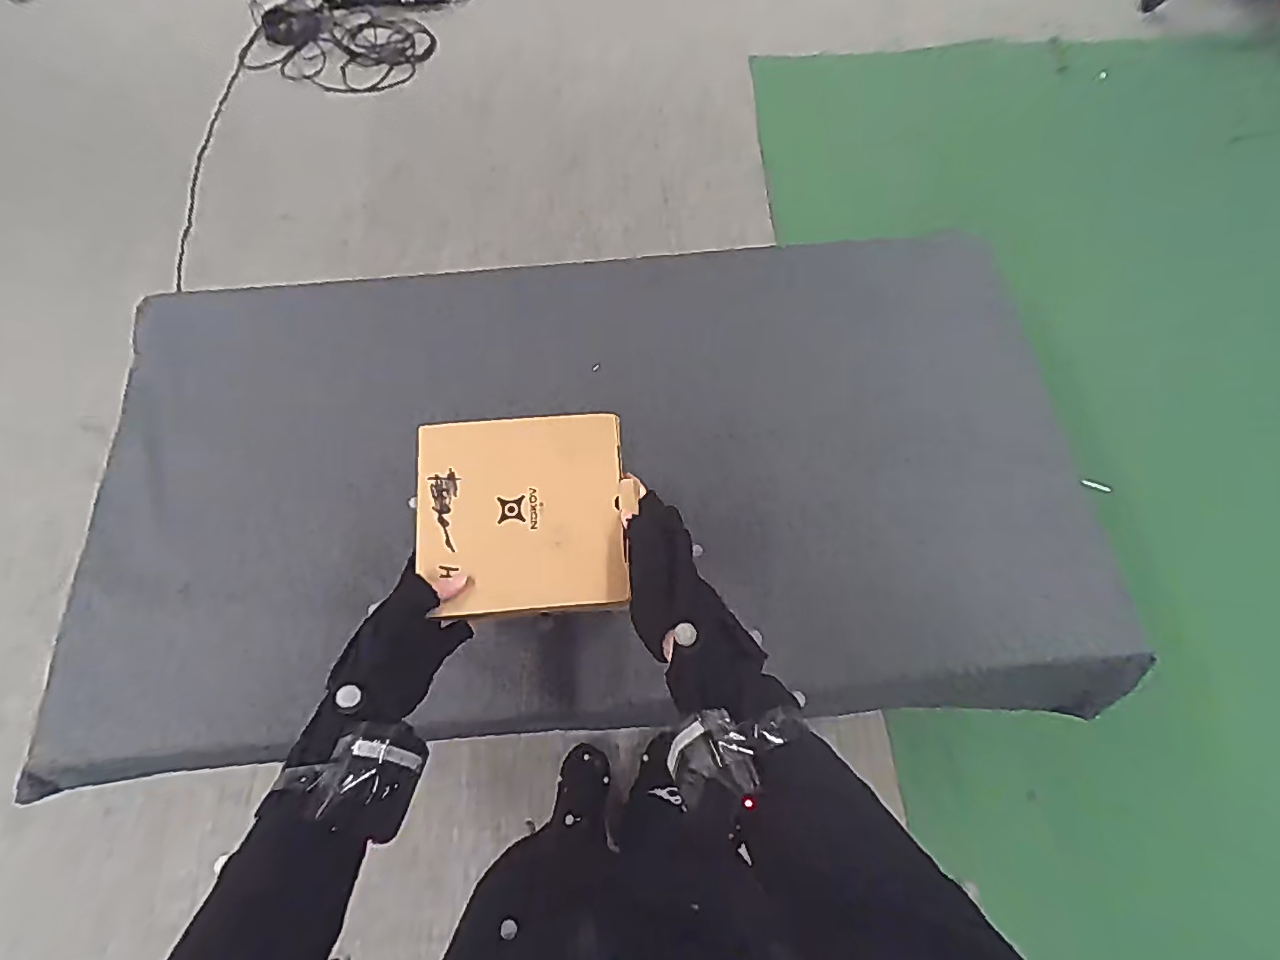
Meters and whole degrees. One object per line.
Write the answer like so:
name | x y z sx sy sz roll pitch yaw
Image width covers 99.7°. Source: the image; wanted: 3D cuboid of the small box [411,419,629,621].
small box | -0.105 0.048 0.531 0.179 0.176 0.168 -4 75 -3
